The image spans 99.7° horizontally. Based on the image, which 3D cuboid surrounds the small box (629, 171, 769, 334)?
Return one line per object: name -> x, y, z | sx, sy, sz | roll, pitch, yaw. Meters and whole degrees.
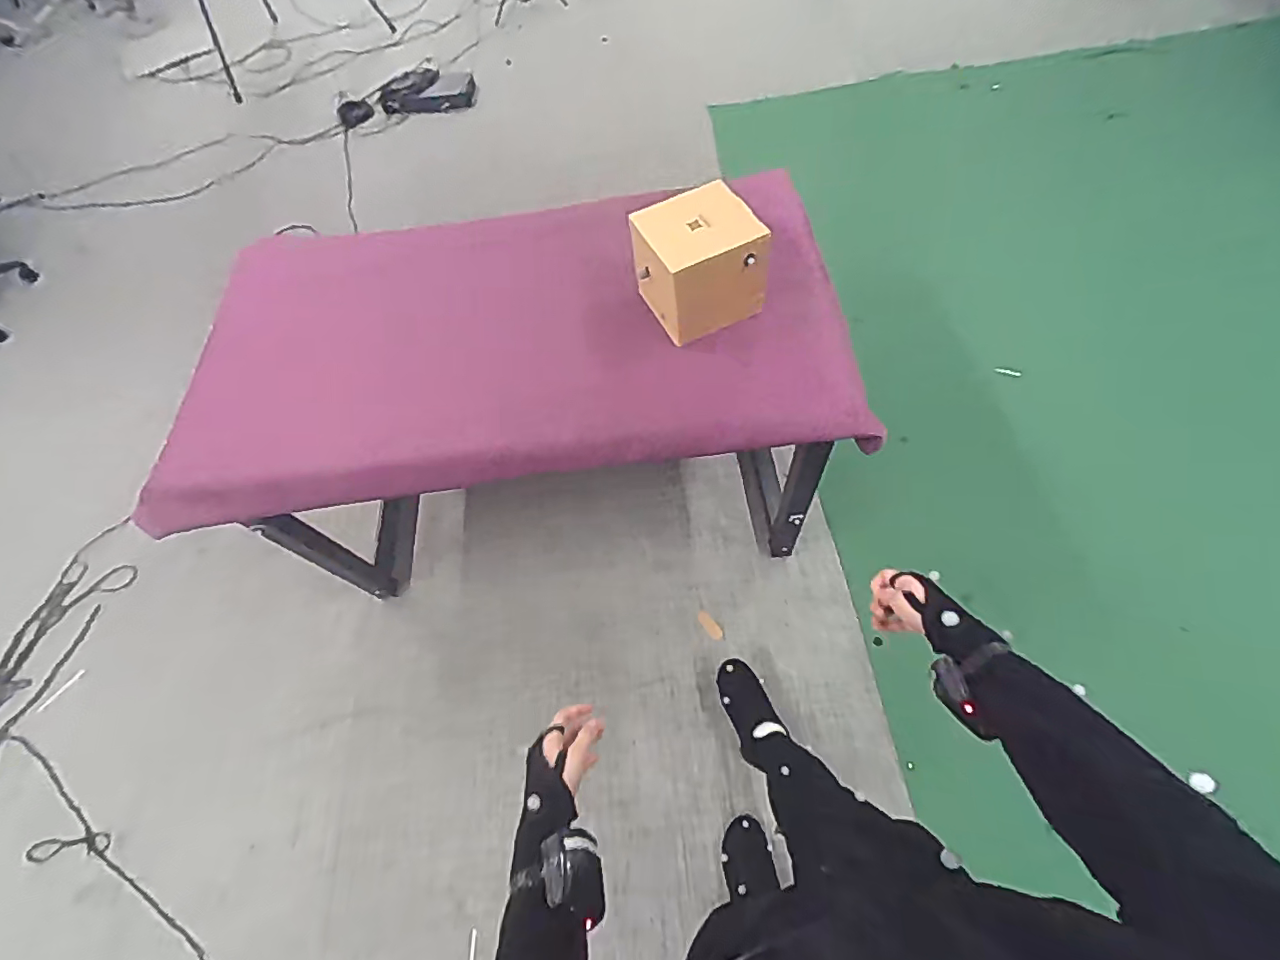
small box -> 0.099, -0.381, 0.925 | 0.179, 0.176, 0.168 | -24, 62, -7
